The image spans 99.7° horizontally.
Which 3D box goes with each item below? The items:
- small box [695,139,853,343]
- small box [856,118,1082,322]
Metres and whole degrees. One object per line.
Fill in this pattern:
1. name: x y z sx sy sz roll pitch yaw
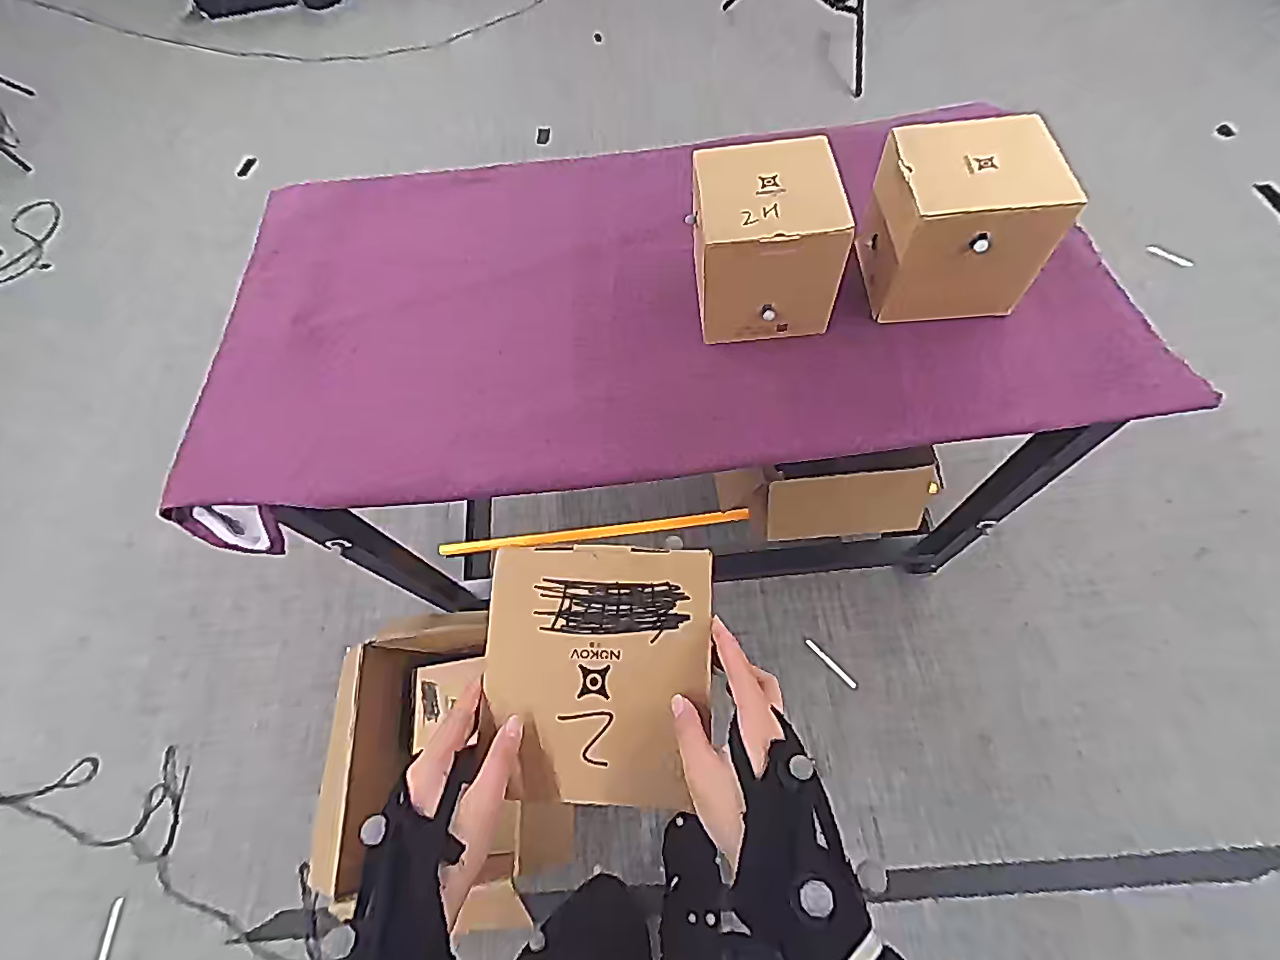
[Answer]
1. small box: 0.160 -0.306 0.709 0.168 0.176 0.179 -4 63 5
2. small box: 0.400 -0.324 0.695 0.179 0.176 0.168 -2 62 6
